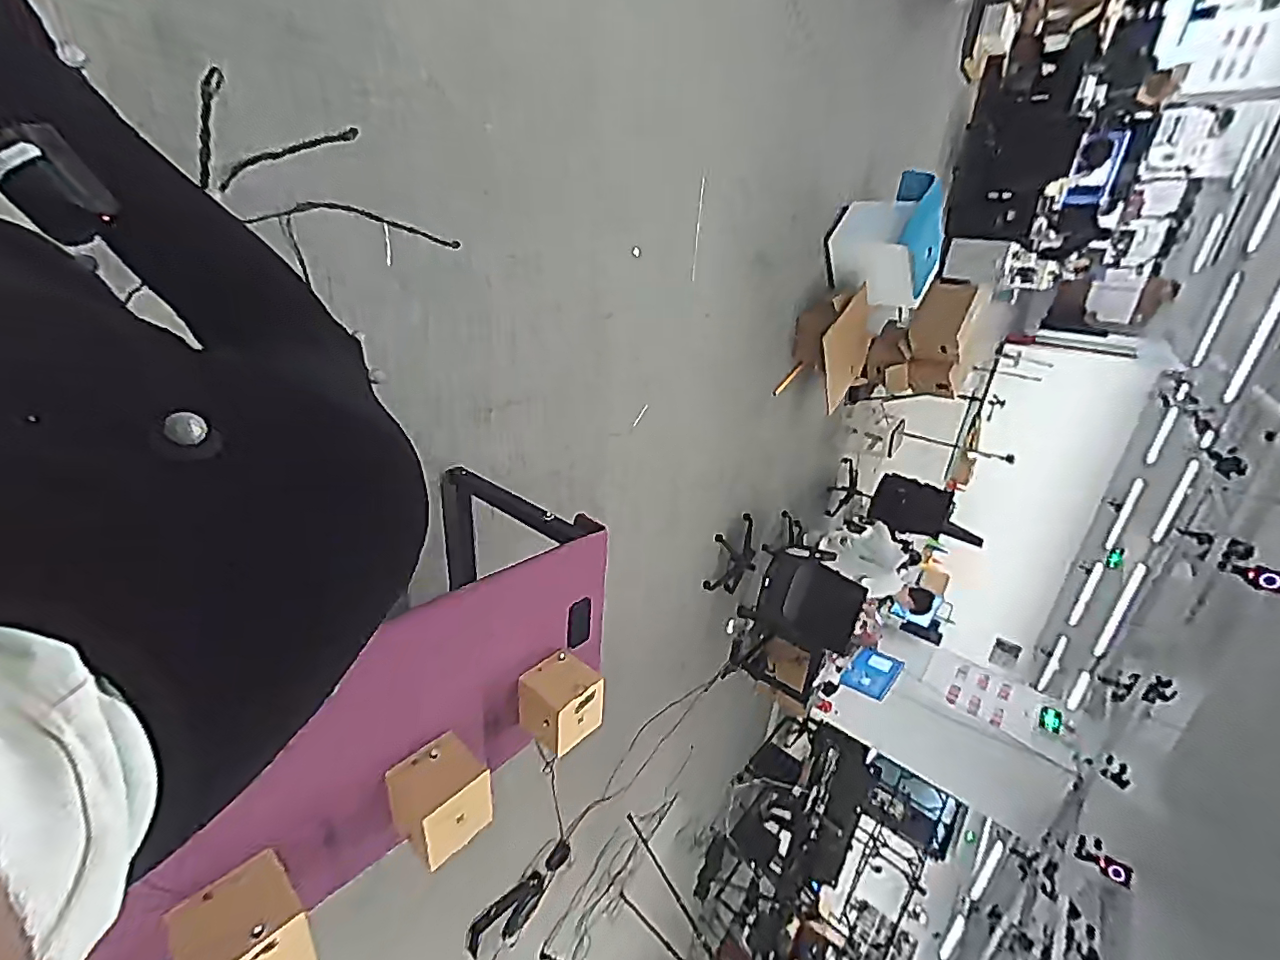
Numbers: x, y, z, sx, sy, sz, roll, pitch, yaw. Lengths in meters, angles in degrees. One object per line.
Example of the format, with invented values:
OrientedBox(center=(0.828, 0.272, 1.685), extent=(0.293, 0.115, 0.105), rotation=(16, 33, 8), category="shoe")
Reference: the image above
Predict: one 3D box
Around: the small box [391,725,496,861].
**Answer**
OrientedBox(center=(-0.455, 0.718, 1.258), extent=(0.168, 0.176, 0.179), rotation=(-23, 125, -45), category="small box")

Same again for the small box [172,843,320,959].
OrientedBox(center=(-0.711, 0.818, 0.982), extent=(0.168, 0.176, 0.179), rotation=(-21, 125, -46), category="small box")

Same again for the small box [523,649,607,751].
OrientedBox(center=(-0.211, 0.597, 1.502), extent=(0.168, 0.176, 0.179), rotation=(-22, 126, -44), category="small box")
